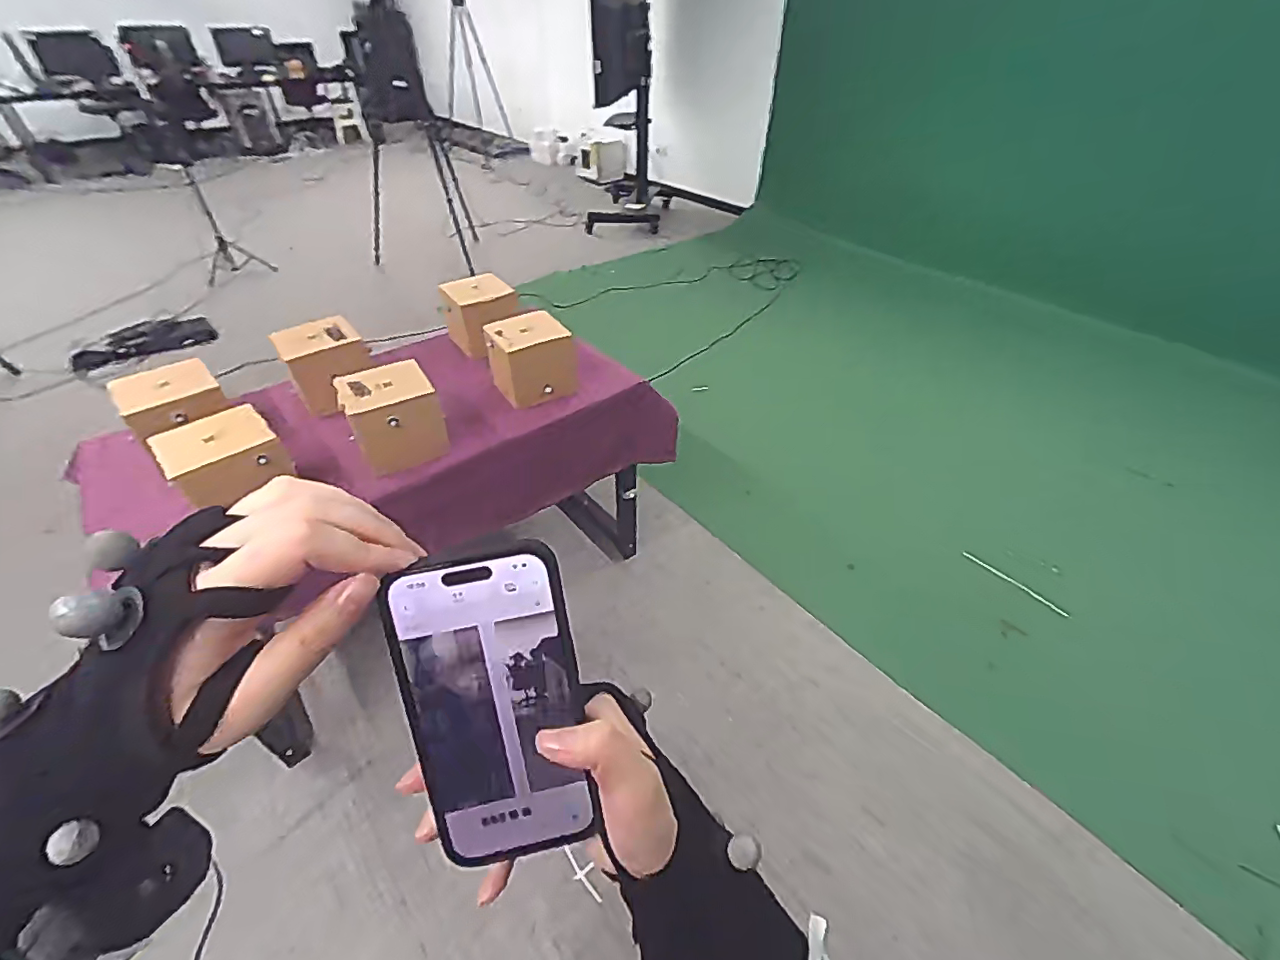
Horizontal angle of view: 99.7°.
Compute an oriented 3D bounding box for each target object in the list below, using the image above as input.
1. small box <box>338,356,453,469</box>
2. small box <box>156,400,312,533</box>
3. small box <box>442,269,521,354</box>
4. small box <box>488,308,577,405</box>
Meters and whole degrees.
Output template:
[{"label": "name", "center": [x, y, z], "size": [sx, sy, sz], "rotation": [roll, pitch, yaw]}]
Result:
[{"label": "small box", "center": [-0.540, -0.149, 1.206], "size": [0.179, 0.176, 0.168], "rotation": [-23, 47, -25]}, {"label": "small box", "center": [-0.792, -0.025, 1.067], "size": [0.179, 0.176, 0.168], "rotation": [-33, 51, -33]}, {"label": "small box", "center": [-0.458, -0.493, 1.586], "size": [0.168, 0.176, 0.179], "rotation": [-26, 49, -25]}, {"label": "small box", "center": [-0.274, -0.321, 1.400], "size": [0.179, 0.176, 0.168], "rotation": [-22, 47, -24]}]
